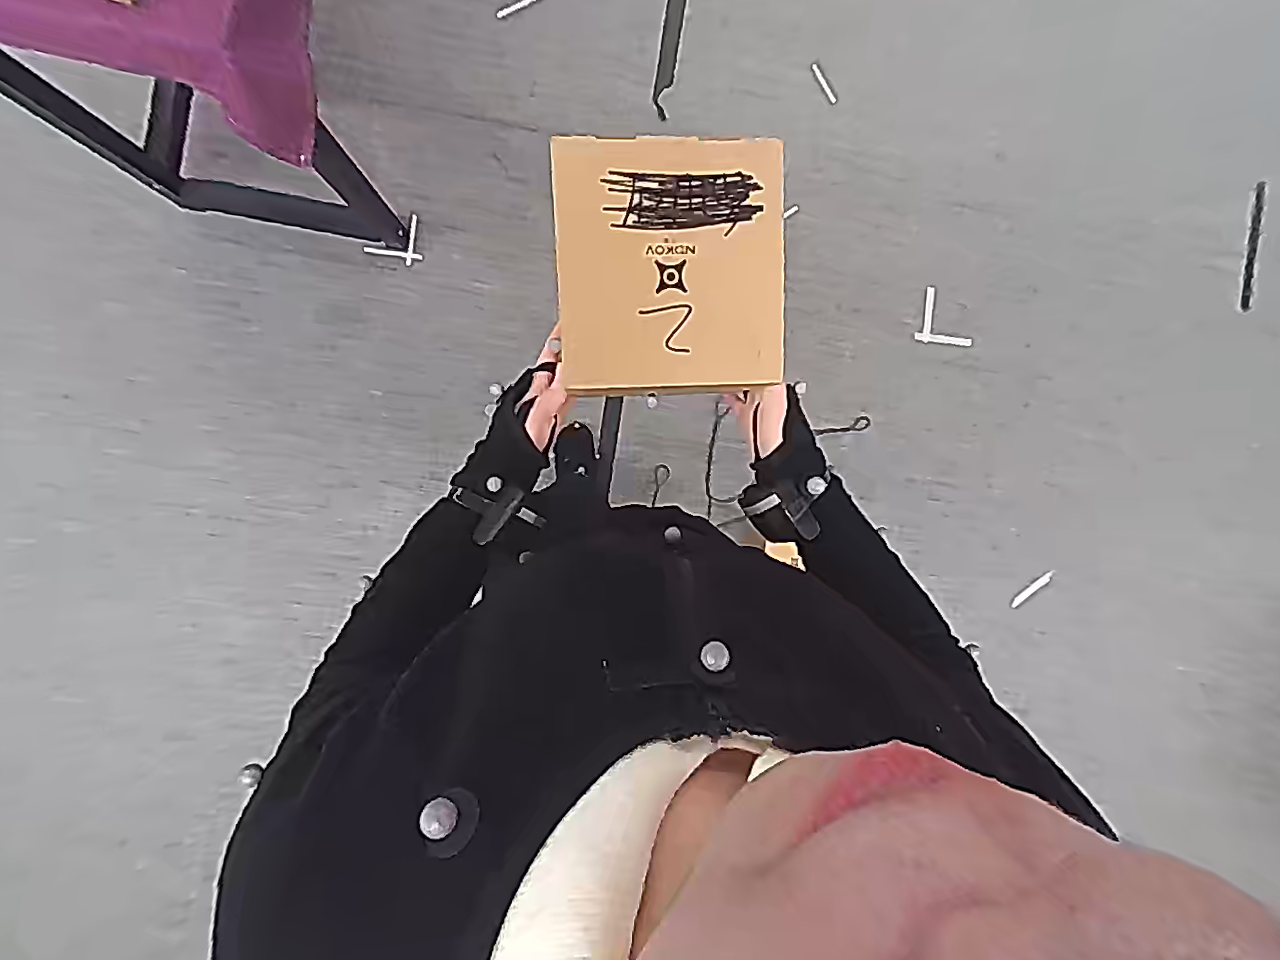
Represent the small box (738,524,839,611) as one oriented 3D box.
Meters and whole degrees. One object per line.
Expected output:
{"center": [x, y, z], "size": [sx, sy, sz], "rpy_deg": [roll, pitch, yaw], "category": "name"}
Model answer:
{"center": [0.388, 0.227, 1.423], "size": [0.179, 0.176, 0.168], "rpy_deg": [0, 111, -22], "category": "small box"}
